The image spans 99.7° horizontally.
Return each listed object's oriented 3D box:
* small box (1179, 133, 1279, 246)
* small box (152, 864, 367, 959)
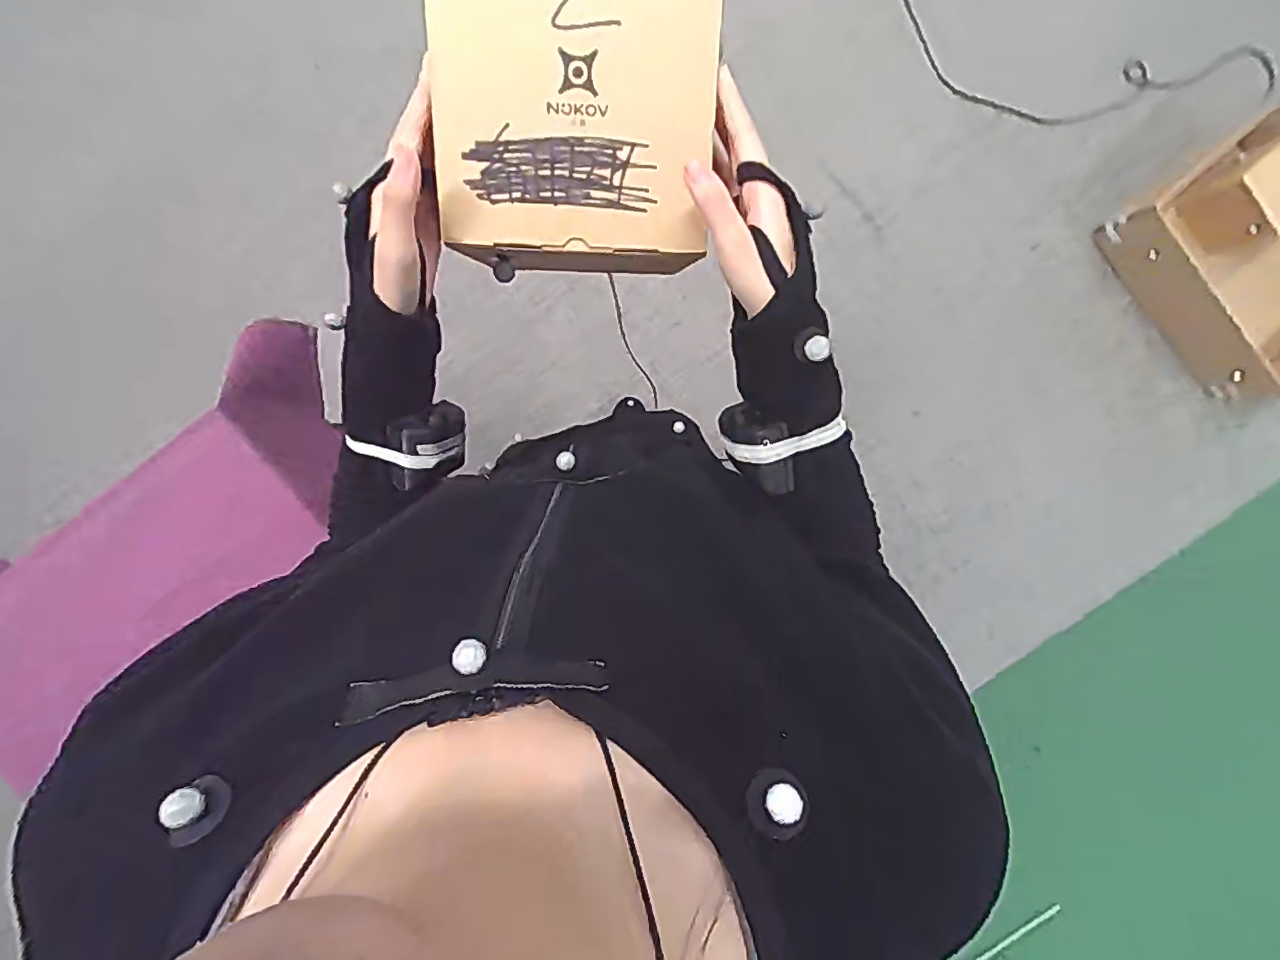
[{"bbox_3d":[1.514,-0.717,1.338,0.168,0.176,0.179,-41,98,5],"label":"small box"},{"bbox_3d":[-0.447,0.569,0.586,0.168,0.176,0.179,-42,97,4],"label":"small box"}]
